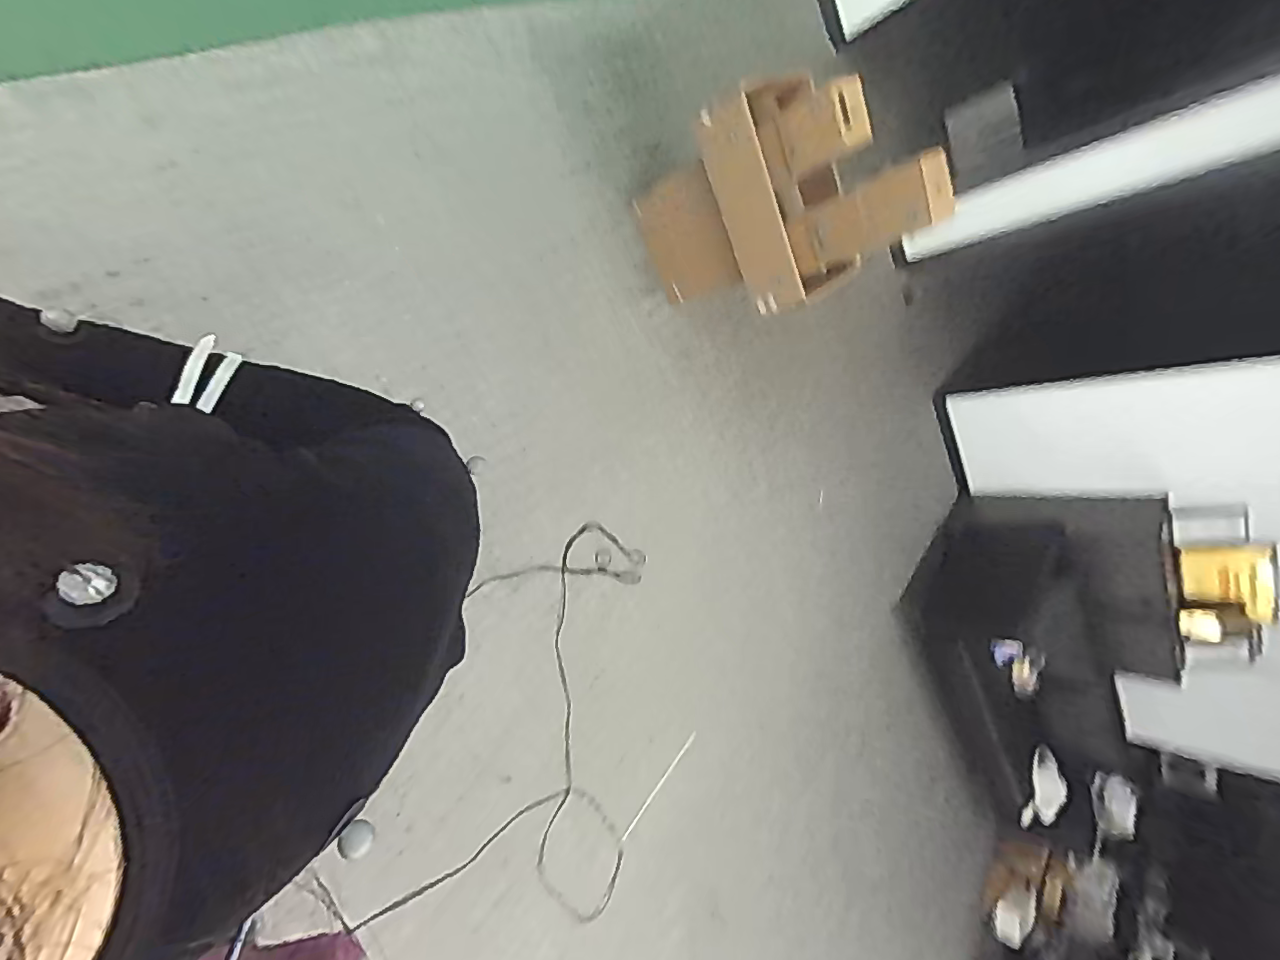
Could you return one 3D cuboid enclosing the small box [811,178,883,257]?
[{"bbox_3d":[0.627,-0.773,1.574,0.179,0.176,0.168,-35,110,-32],"label":"small box"}]

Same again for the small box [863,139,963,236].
[{"bbox_3d":[0.727,-0.771,1.442,0.168,0.176,0.179,-34,109,-34],"label":"small box"}]
